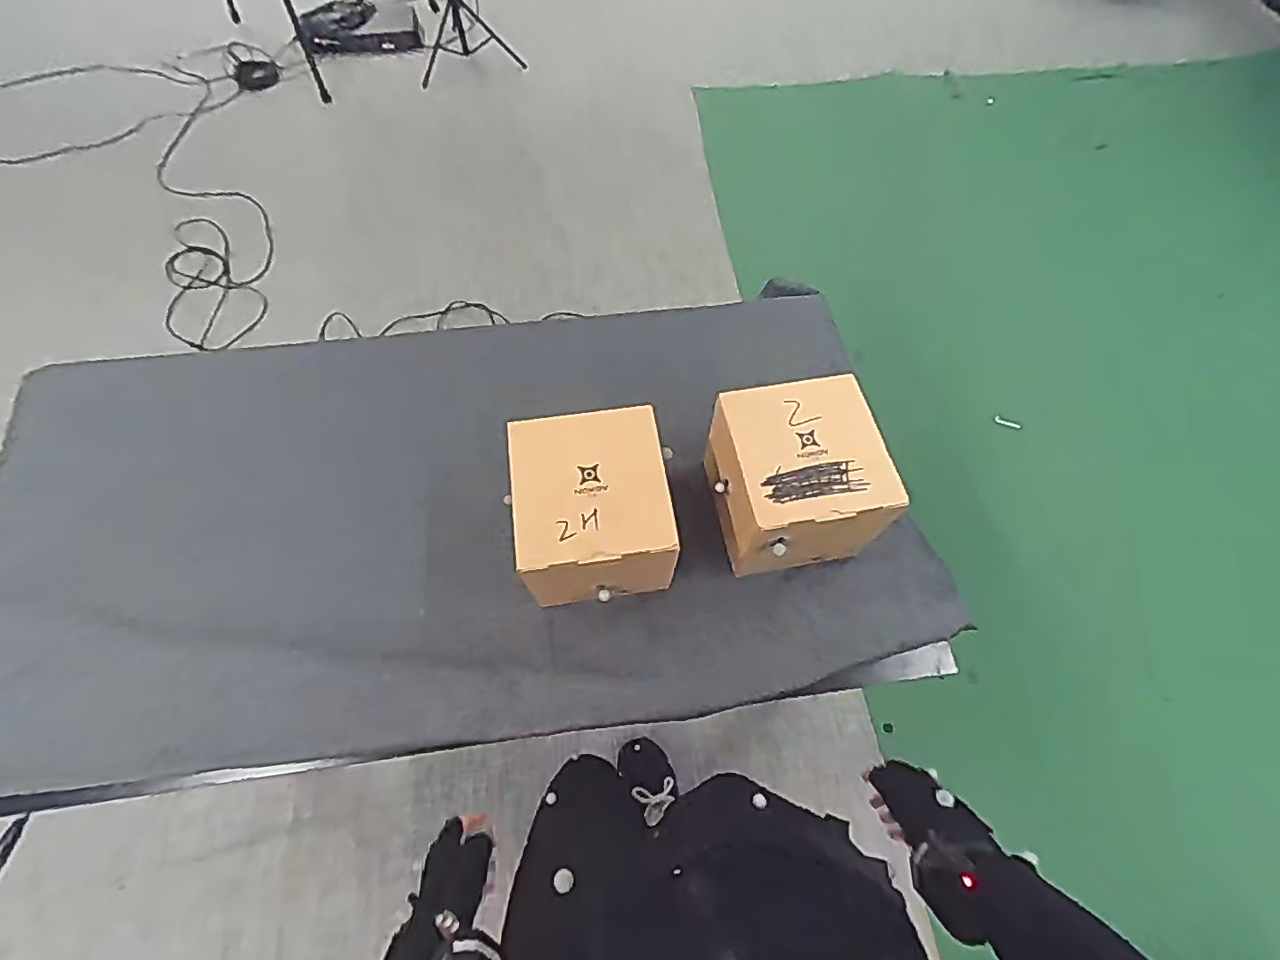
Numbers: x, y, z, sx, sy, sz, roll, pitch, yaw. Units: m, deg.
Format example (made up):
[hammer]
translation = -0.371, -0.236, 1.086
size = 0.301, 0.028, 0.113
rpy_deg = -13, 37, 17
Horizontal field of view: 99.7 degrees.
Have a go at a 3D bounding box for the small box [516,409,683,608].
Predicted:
[small box]
translation = -0.049, 0.040, 0.646
size = 0.168, 0.176, 0.179
rpy_deg = -8, 65, -4
